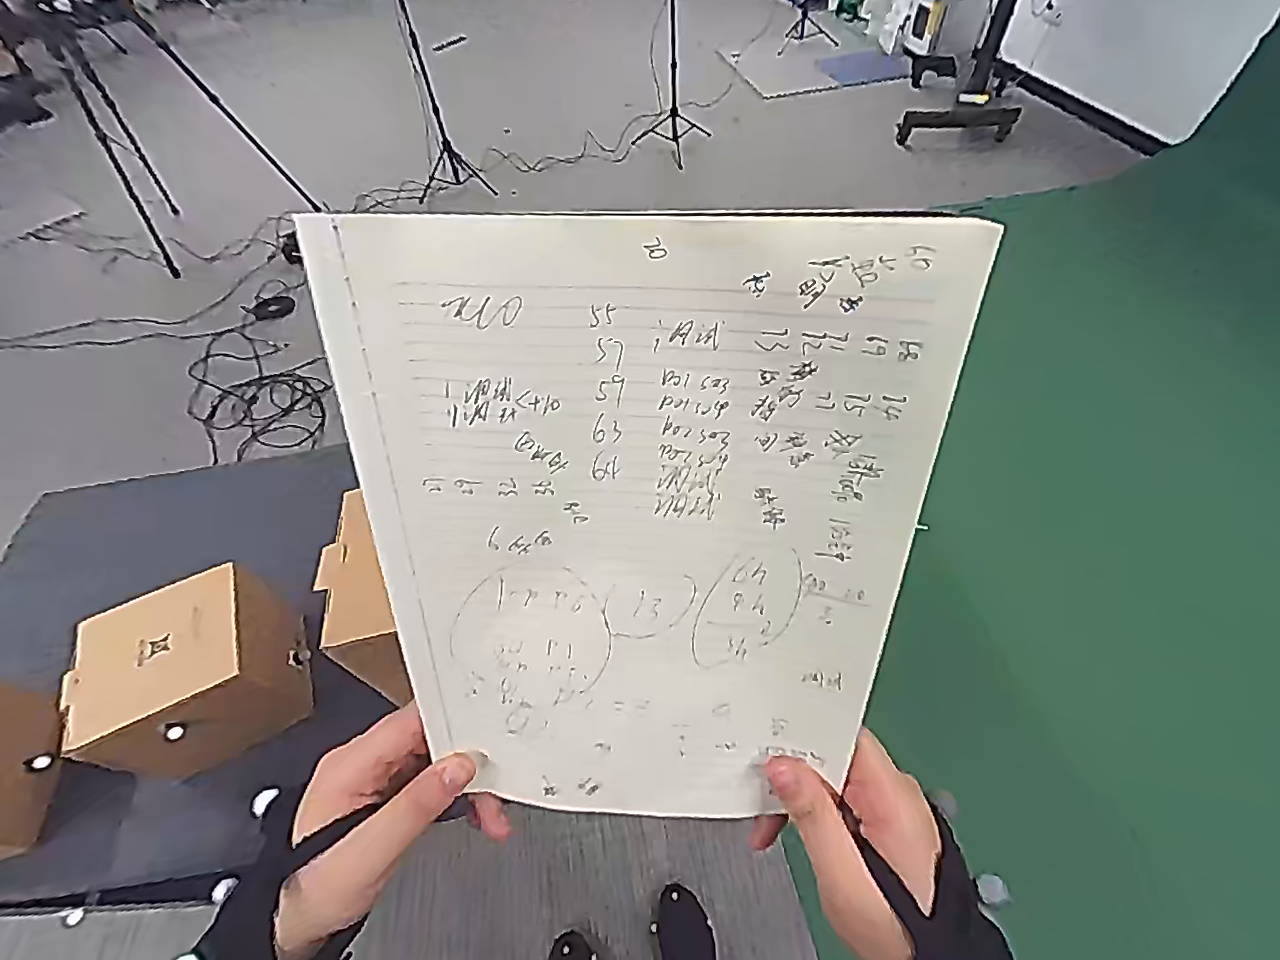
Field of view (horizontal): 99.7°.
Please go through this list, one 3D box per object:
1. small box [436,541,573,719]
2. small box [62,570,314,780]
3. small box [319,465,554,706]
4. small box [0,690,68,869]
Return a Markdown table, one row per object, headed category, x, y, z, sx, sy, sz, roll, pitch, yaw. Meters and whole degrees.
| category | x | y | z | sx | sy | sz | roll | pitch | yaw |
| --- | --- | --- | --- | --- | --- | --- | --- | --- | --- |
| small box | -0.187 | 0.193 | 0.703 | 0.168 | 0.176 | 0.179 | 0 | 53 | 6 |
| small box | -0.554 | 0.252 | 0.689 | 0.179 | 0.176 | 0.168 | -24 | 55 | -14 |
| small box | -0.191 | 0.112 | 0.559 | 0.179 | 0.176 | 0.168 | -13 | 52 | -5 |
| small box | -0.831 | 0.359 | 0.625 | 0.168 | 0.176 | 0.179 | -16 | 53 | -8 |
